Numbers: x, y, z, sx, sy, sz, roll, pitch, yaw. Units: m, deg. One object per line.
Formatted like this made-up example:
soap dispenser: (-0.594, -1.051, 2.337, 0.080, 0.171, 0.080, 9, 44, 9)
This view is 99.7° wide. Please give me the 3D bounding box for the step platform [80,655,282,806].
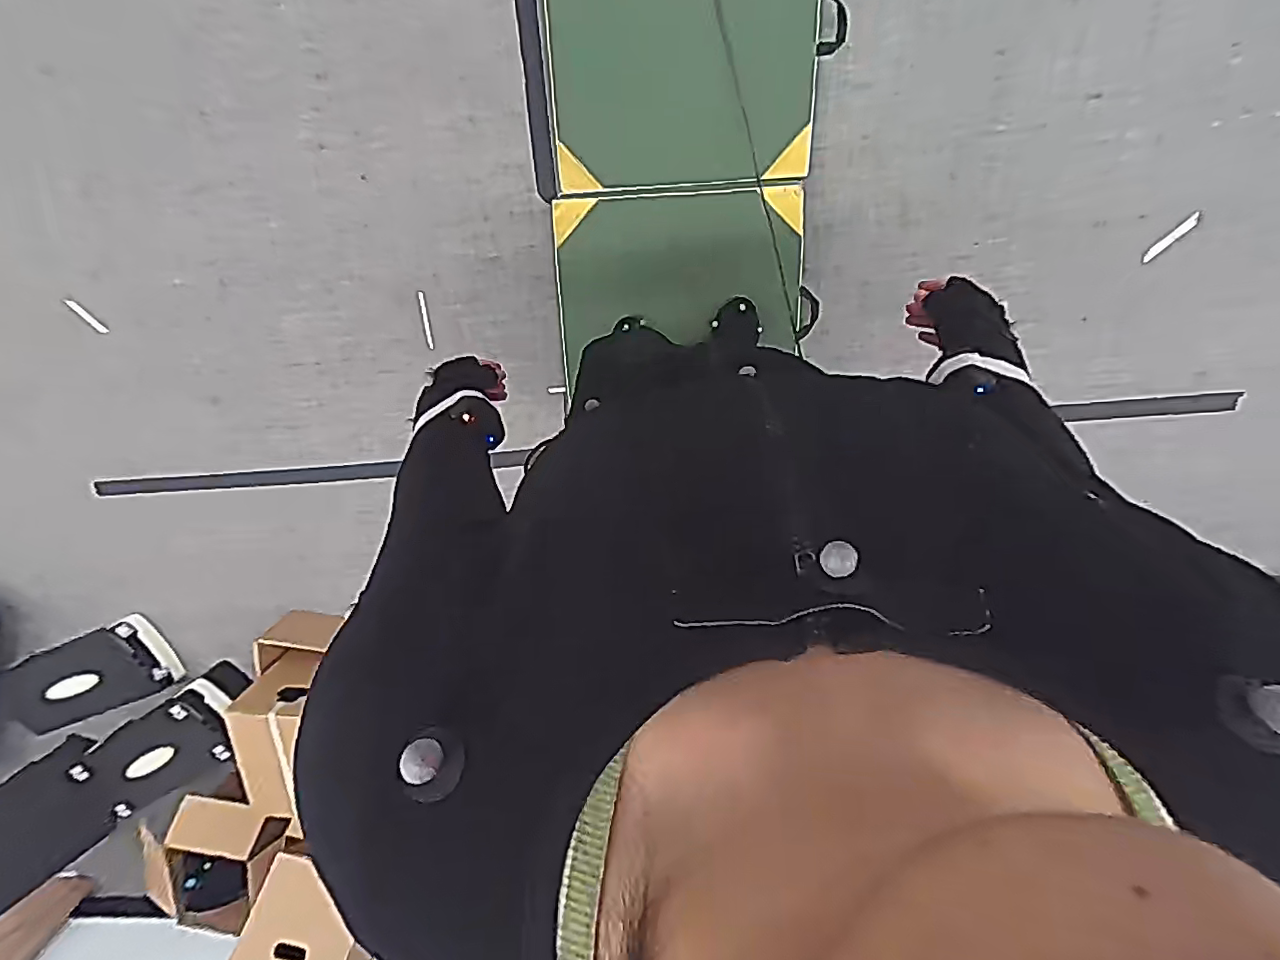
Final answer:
step platform: (-1.673, 0.920, 1.971, 0.684, 0.204, 0.286, -31, 104, 13)
